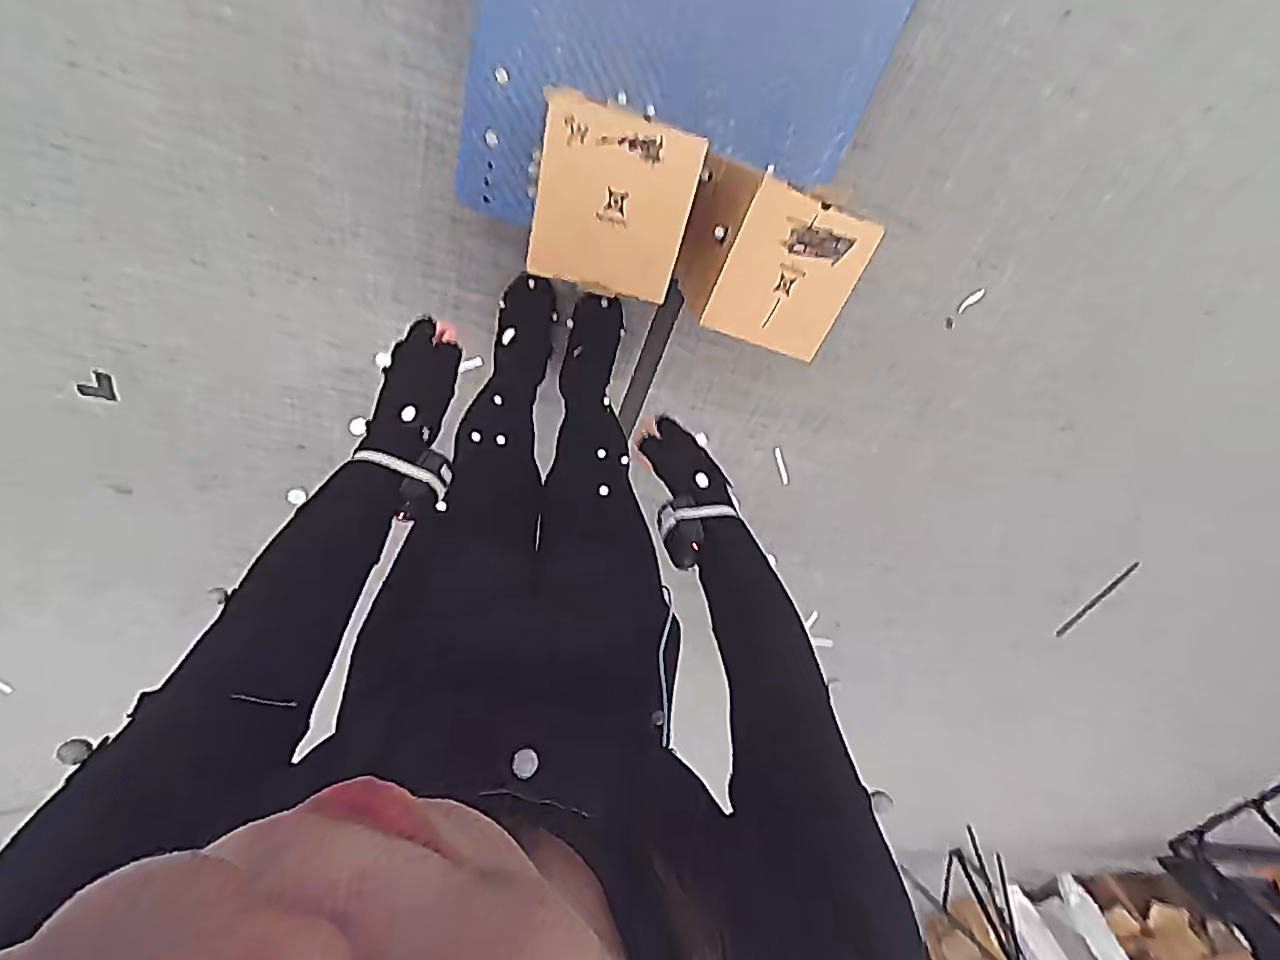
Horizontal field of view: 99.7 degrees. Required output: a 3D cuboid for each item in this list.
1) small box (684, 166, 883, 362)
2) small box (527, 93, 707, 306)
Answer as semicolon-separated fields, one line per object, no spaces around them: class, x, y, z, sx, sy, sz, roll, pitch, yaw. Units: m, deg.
small box;0.171;-0.289;0.714;0.168;0.176;0.179;14;123;-17
small box;-0.036;-0.340;0.654;0.168;0.176;0.179;10;125;-14
